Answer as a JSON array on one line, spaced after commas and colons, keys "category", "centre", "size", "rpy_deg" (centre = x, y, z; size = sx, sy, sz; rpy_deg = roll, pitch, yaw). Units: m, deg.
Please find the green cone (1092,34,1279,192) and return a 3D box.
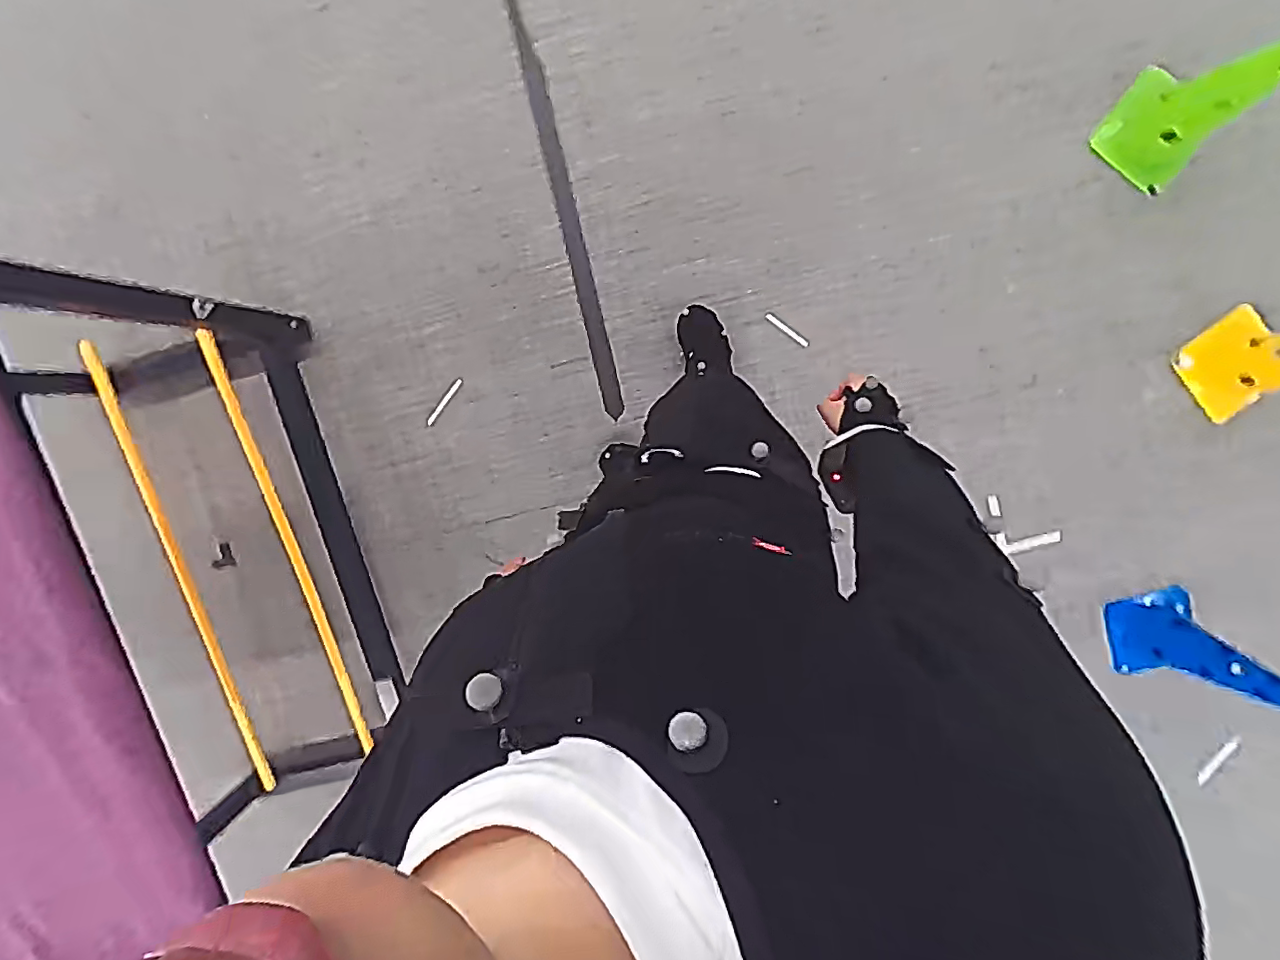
[{"category": "green cone", "centre": [1.114, -0.742, 1.011], "size": [0.202, 0.368, 0.200], "rpy_deg": [36, 98, -2]}]
